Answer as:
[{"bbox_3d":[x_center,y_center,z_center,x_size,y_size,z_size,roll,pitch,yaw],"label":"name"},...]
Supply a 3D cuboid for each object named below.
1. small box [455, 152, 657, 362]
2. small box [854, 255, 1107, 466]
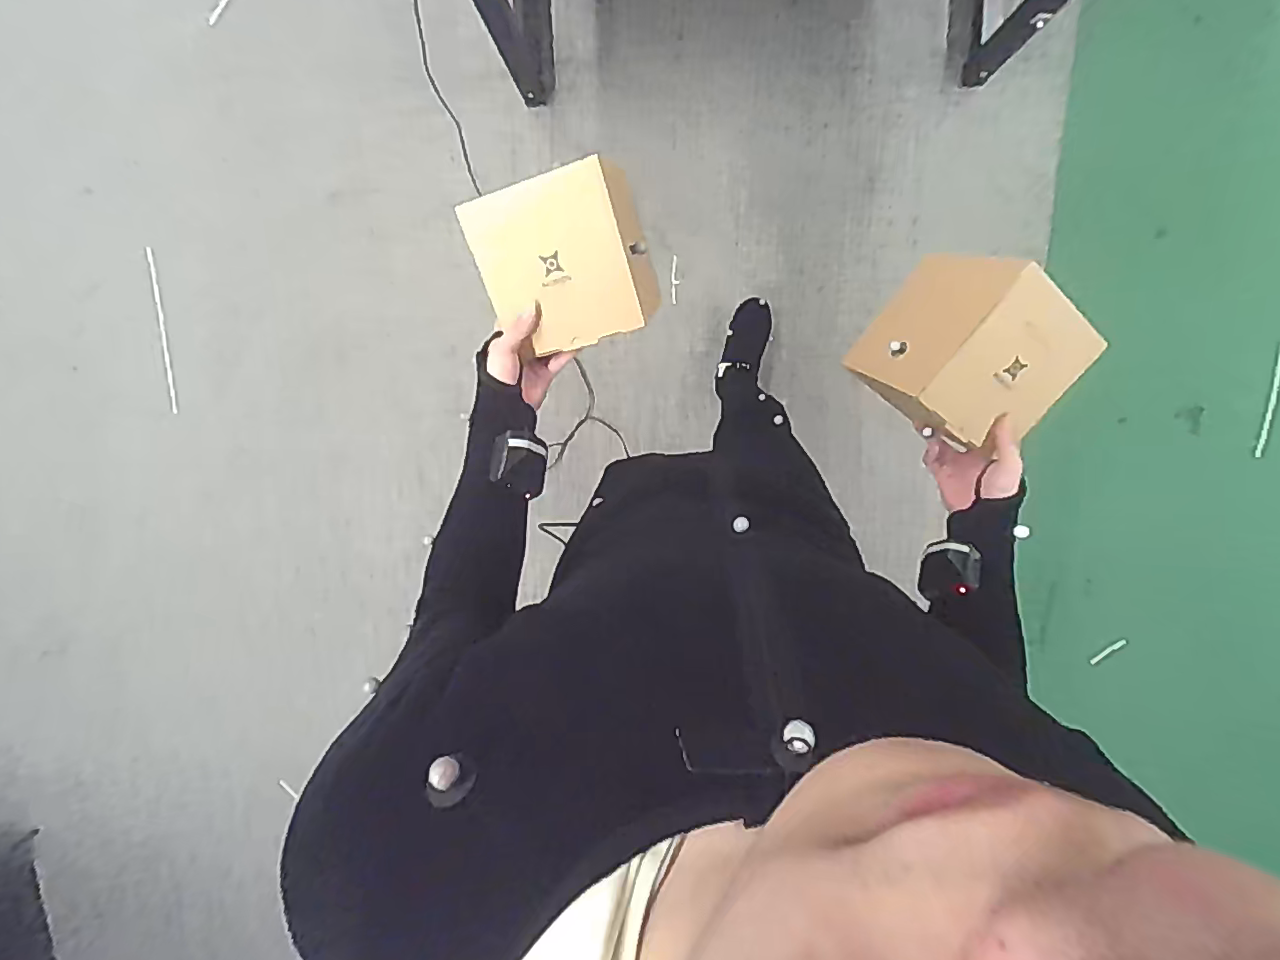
[{"bbox_3d":[-0.084,-0.262,0.644,0.168,0.176,0.179,-12,115,14],"label":"small box"},{"bbox_3d":[0.397,-0.152,0.668,0.168,0.176,0.179,30,105,-23],"label":"small box"}]
